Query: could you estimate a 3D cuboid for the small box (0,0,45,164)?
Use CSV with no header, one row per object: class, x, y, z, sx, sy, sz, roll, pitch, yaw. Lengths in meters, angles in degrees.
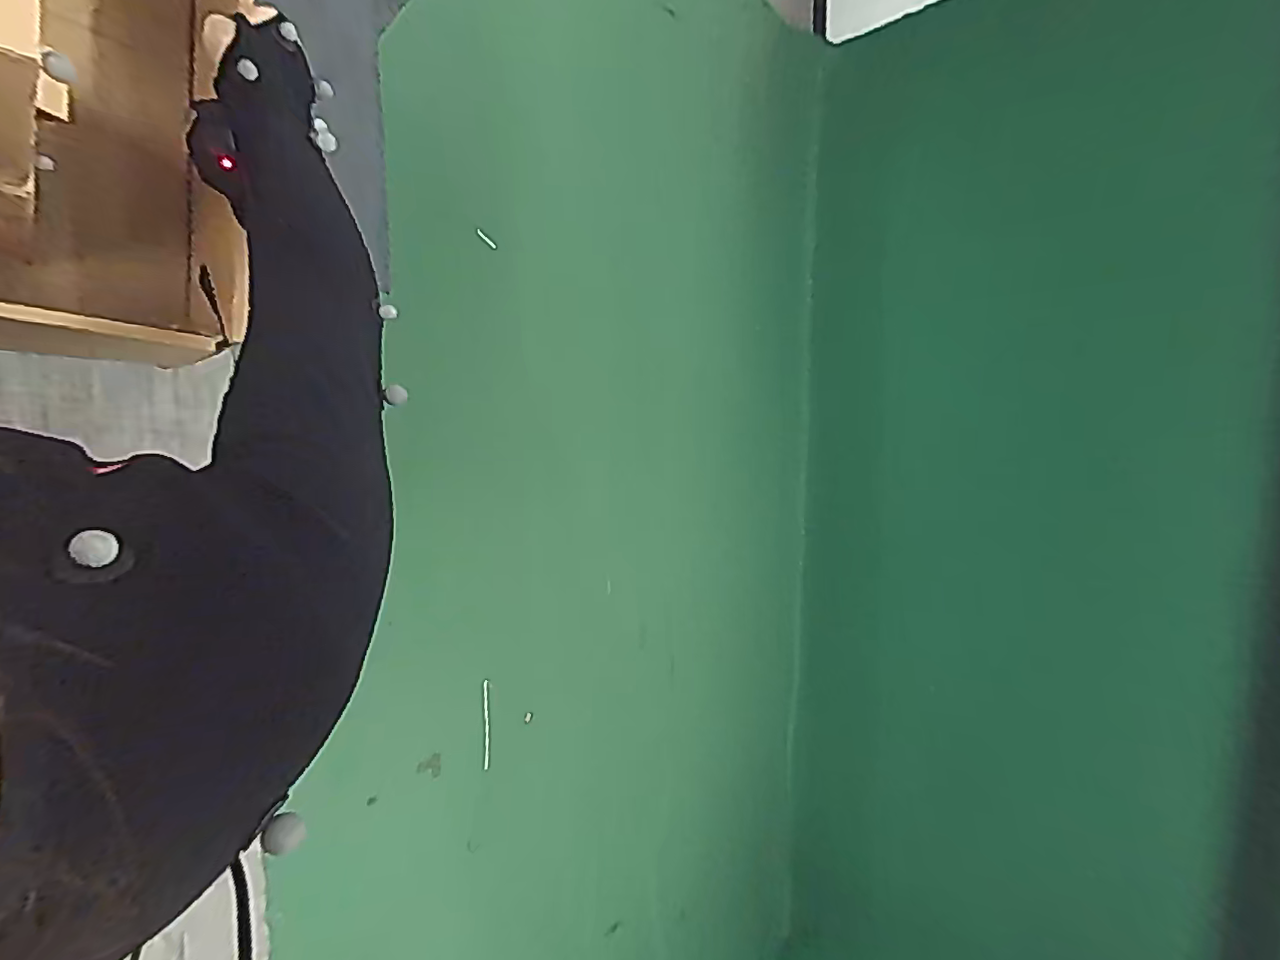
small box,-0.401,-0.277,0.241,0.179,0.176,0.168,-1,91,-52
